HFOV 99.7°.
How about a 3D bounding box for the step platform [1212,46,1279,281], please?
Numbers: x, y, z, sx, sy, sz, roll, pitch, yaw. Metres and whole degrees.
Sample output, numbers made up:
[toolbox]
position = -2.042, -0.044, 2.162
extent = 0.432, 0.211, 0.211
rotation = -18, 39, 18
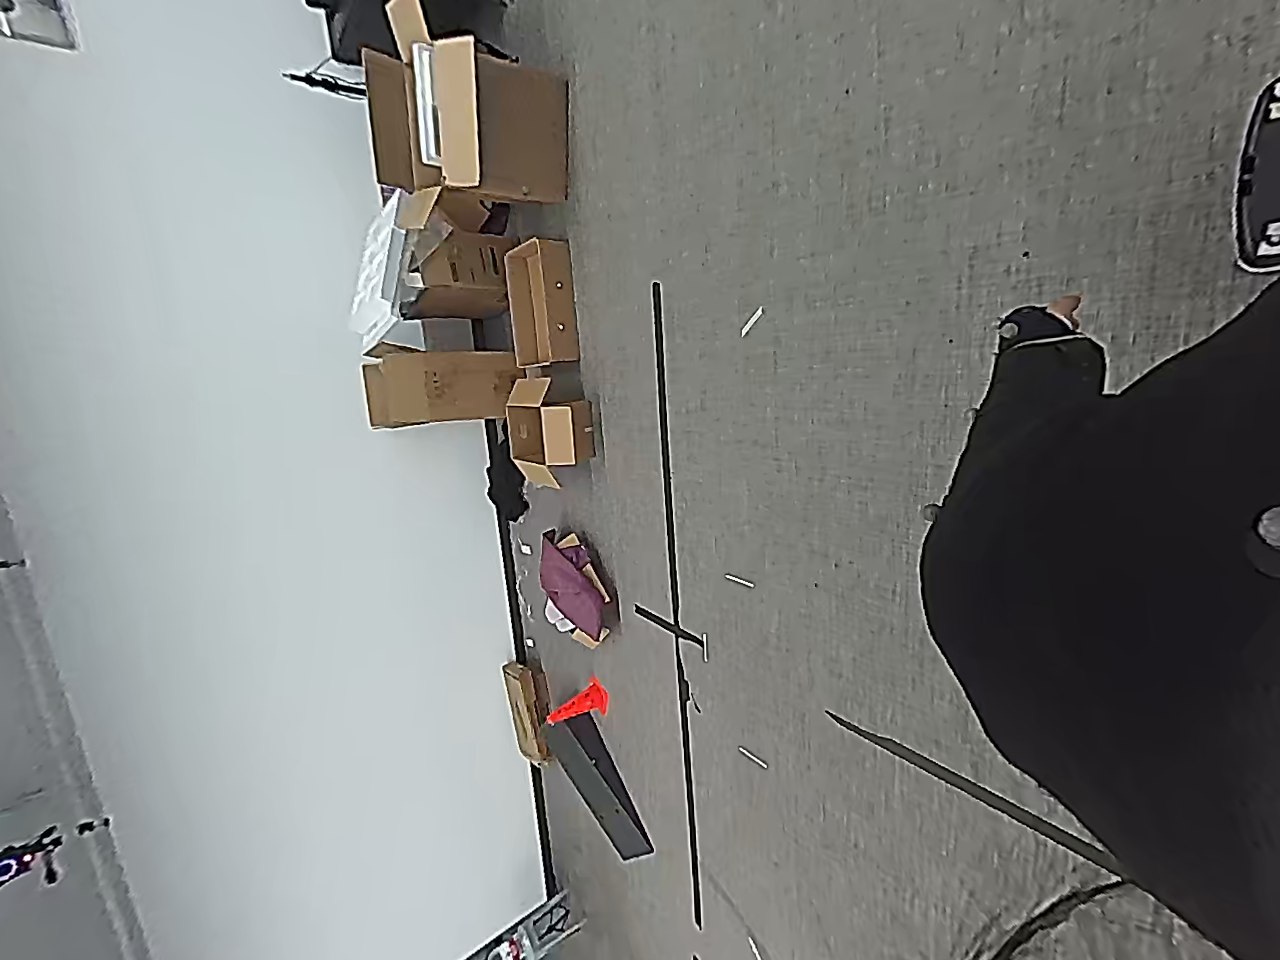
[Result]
[step platform]
position = 1.064, -0.401, 0.523
extent = 0.684, 0.204, 0.286
rotation = 9, 107, 52
